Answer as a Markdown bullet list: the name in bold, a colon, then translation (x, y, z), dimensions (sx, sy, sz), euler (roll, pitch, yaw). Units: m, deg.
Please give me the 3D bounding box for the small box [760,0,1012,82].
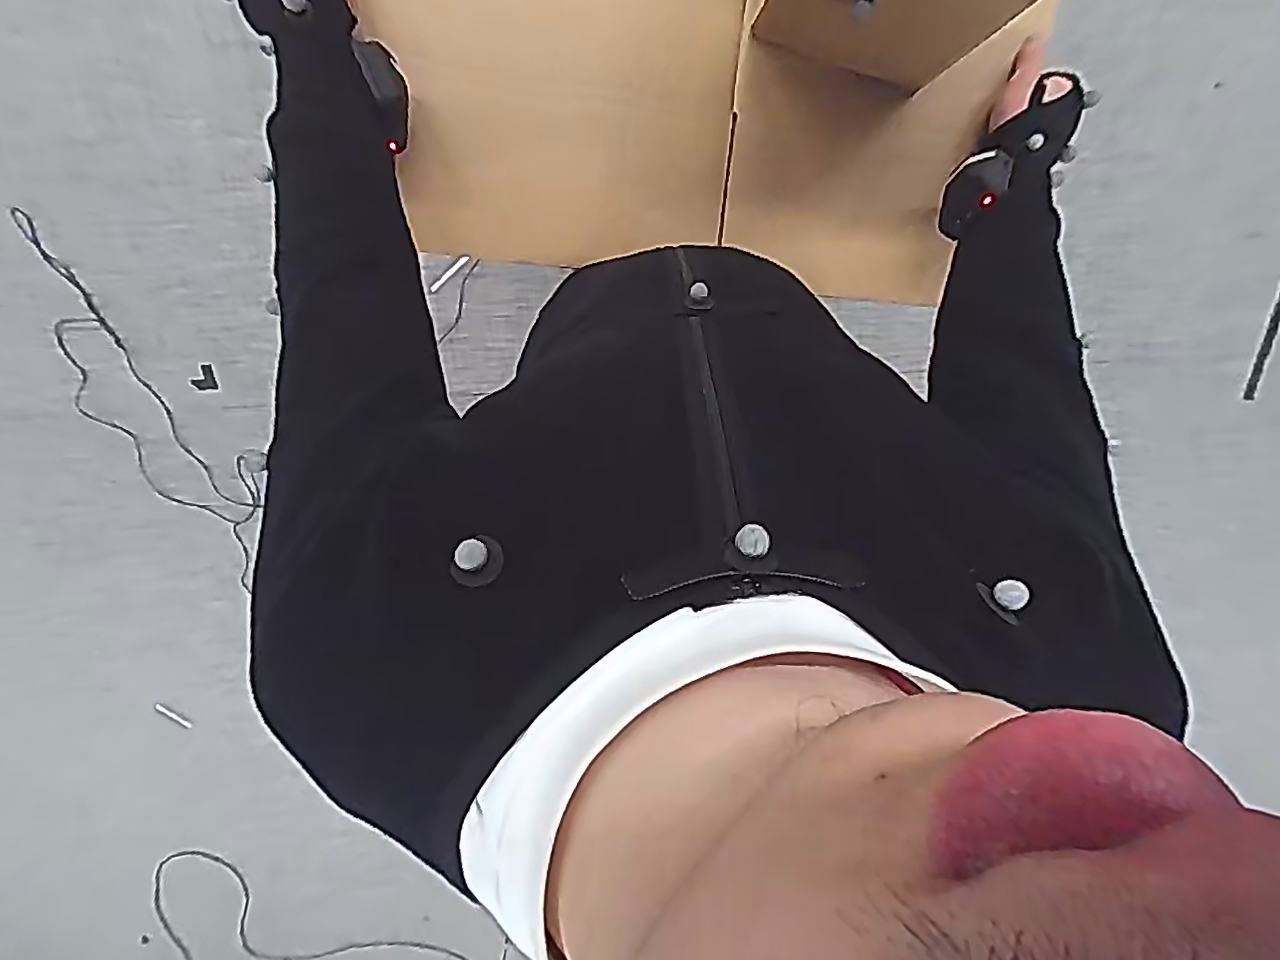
- **small box**: translation (0.213, -0.457, 0.426), dimensions (0.179, 0.176, 0.168), euler (15, 105, -6)
